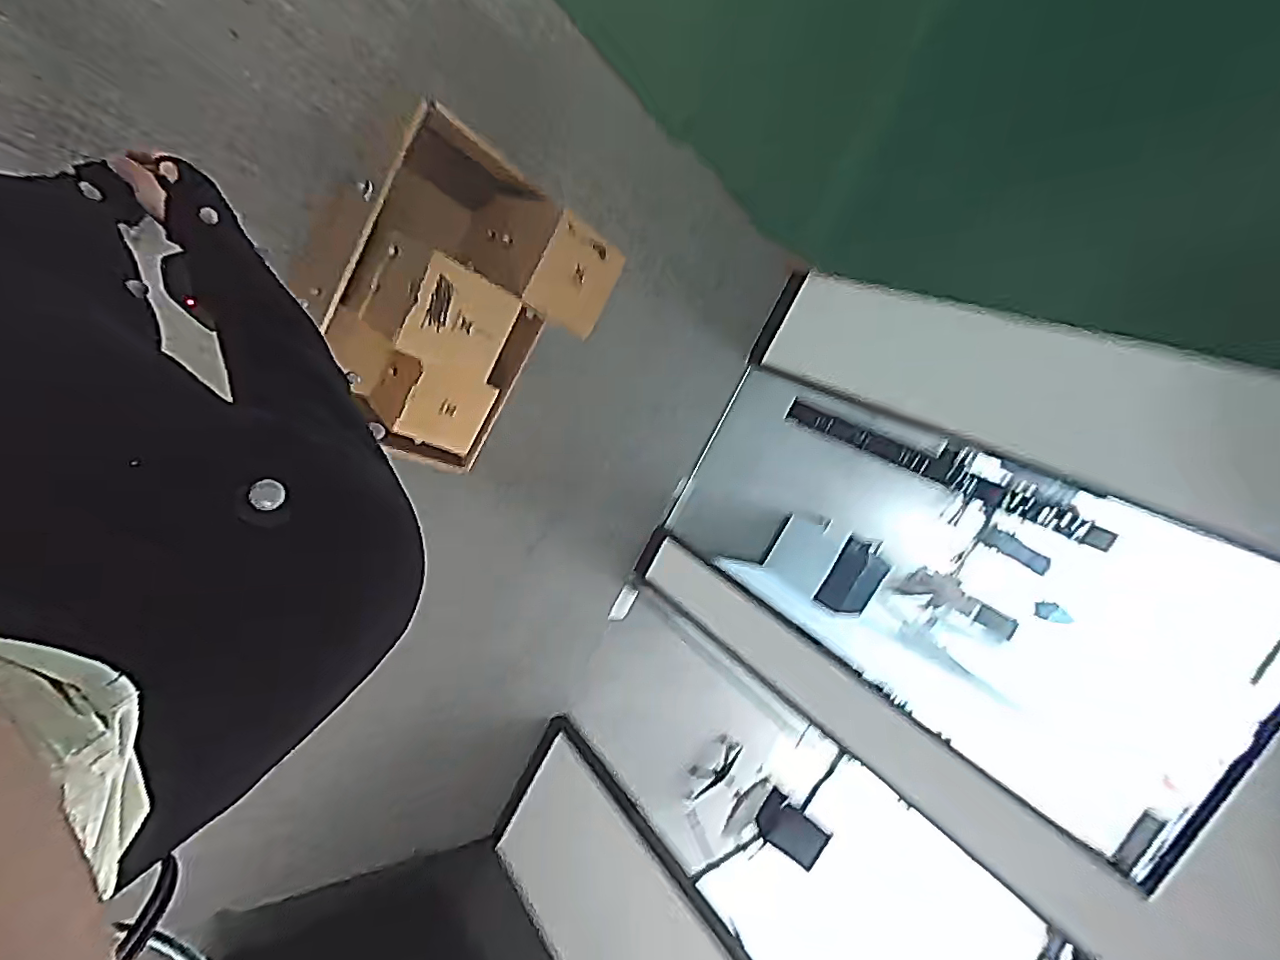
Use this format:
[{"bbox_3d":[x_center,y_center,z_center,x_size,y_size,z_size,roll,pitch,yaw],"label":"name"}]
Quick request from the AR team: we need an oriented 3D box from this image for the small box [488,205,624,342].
[{"bbox_3d":[-0.170,-0.402,1.052,0.168,0.176,0.179,22,101,-49],"label":"small box"}]

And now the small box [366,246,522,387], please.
[{"bbox_3d":[-0.348,-0.290,0.950,0.179,0.176,0.168,19,102,-50],"label":"small box"}]
